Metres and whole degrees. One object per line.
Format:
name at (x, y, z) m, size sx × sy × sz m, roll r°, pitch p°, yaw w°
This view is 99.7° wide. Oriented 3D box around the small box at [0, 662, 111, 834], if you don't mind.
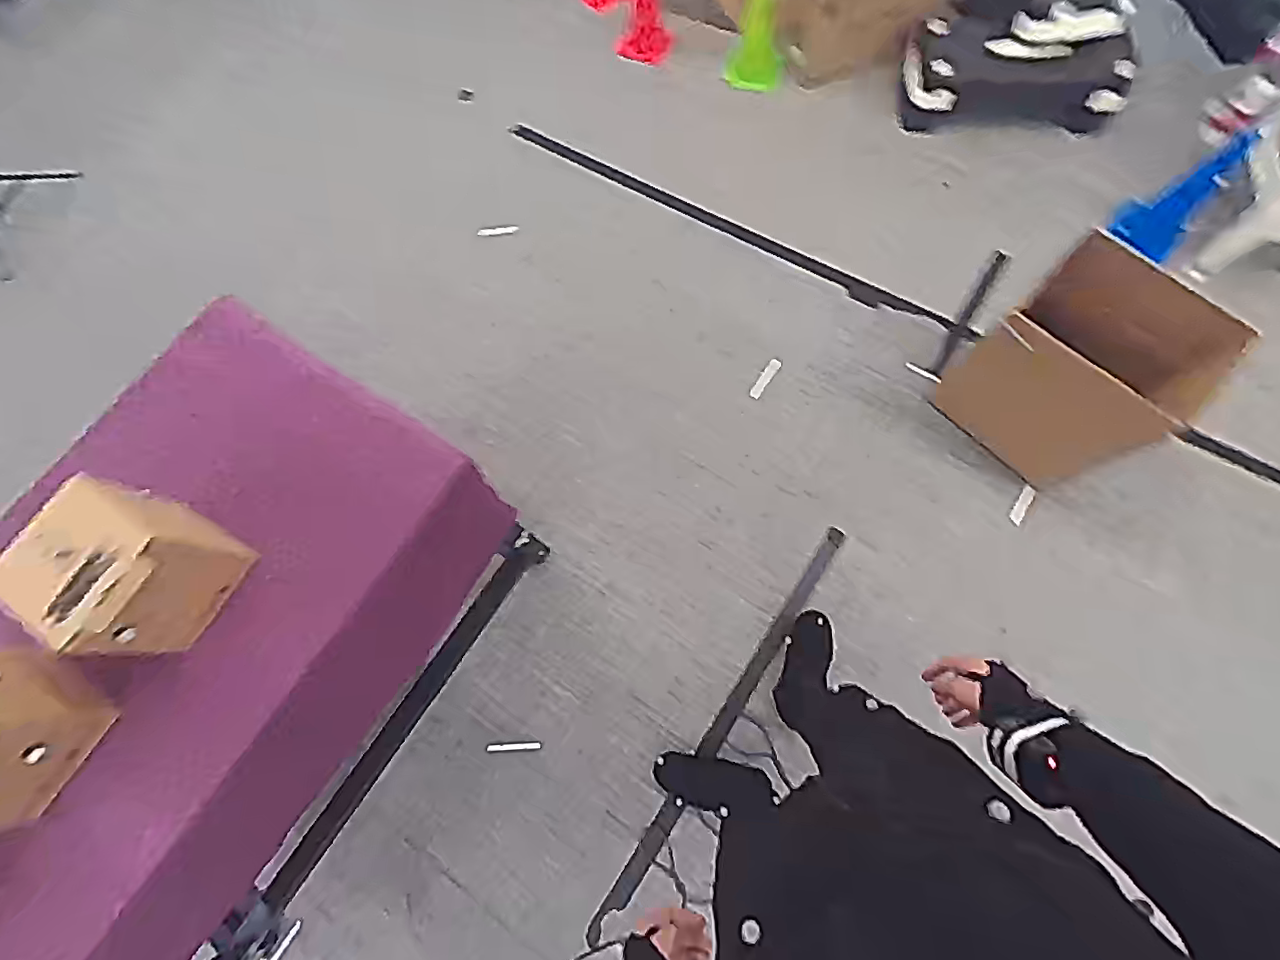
small box at (-0.862, 0.346, 0.694) m, size 0.179 × 0.176 × 0.168 m, roll 28°, pitch 76°, yaw 12°
